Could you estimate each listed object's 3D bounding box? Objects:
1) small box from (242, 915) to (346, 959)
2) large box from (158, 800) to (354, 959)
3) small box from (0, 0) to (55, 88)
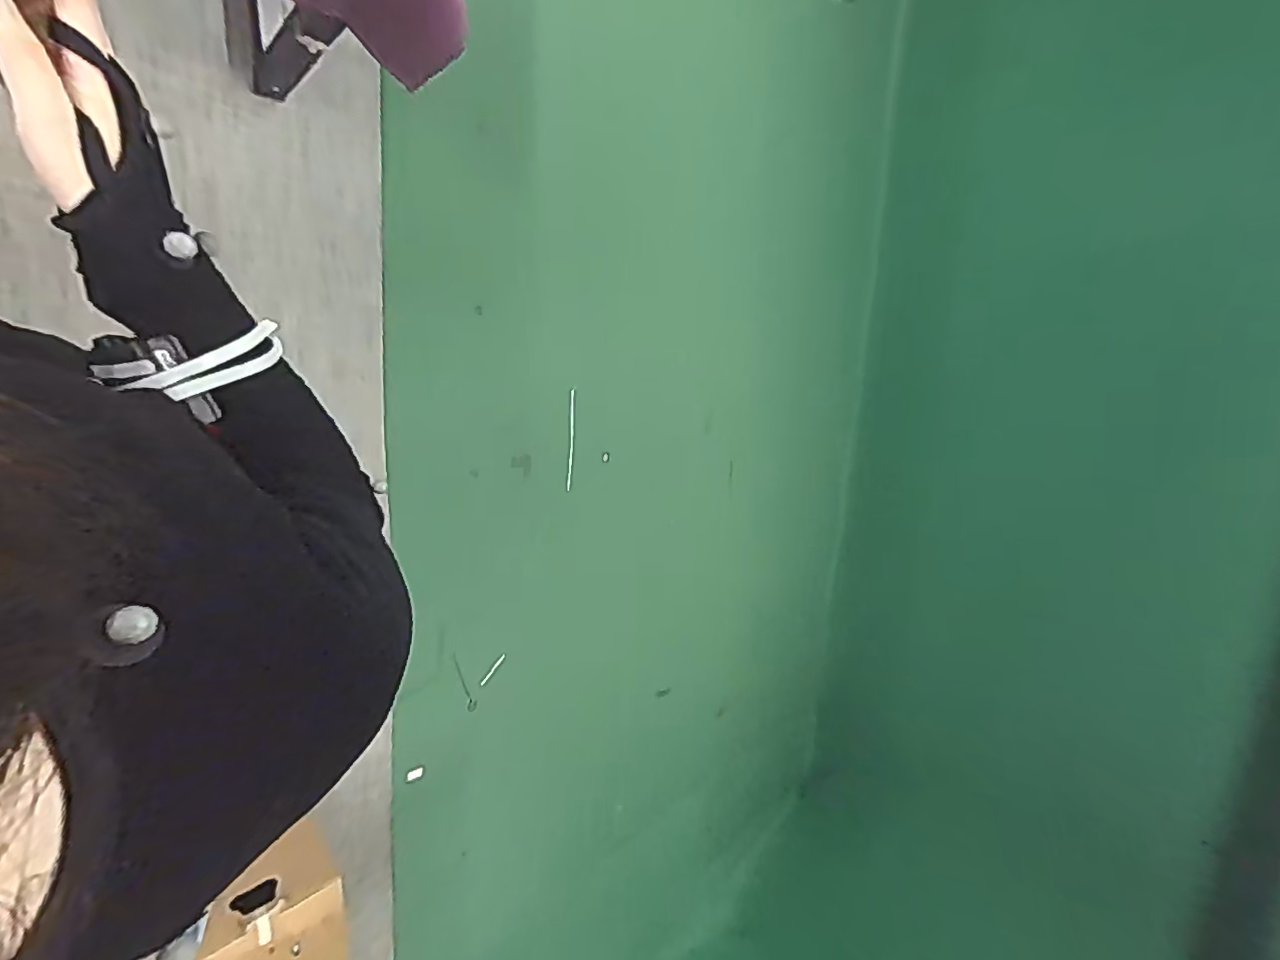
[{"bbox_3d":[-0.742,1.097,1.152,0.168,0.176,0.179,6,94,-49],"label":"small box"},{"bbox_3d":[-0.926,1.108,1.319,0.320,0.320,0.408,-9,107,-46],"label":"large box"},{"bbox_3d":[-0.409,-0.270,0.226,0.168,0.176,0.179,-48,130,-27],"label":"small box"}]
